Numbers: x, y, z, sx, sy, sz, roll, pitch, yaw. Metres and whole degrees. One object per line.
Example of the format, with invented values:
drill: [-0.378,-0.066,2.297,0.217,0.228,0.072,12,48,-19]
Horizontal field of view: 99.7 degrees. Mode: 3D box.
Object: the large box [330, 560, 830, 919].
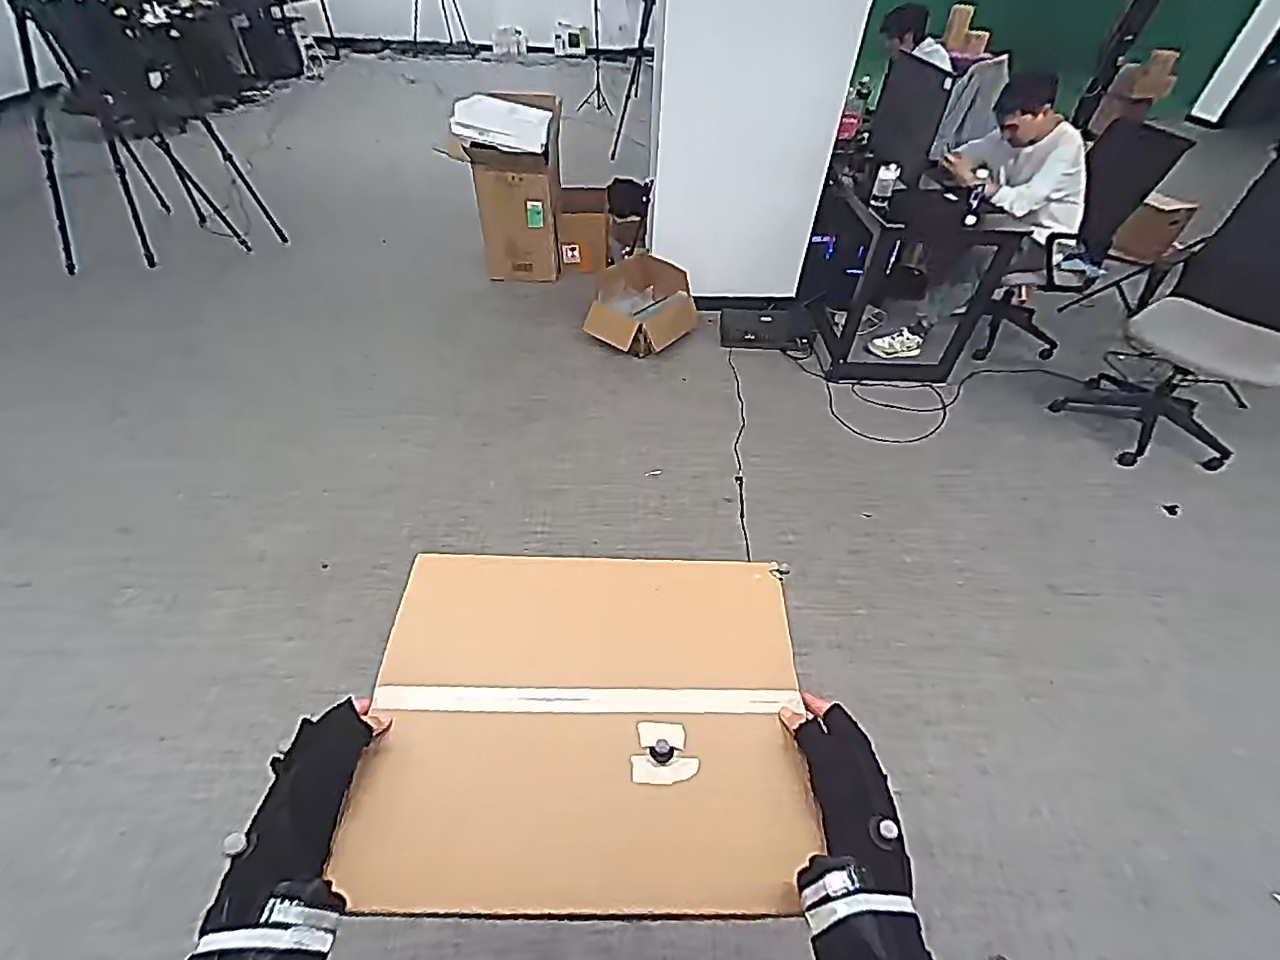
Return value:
large box: [-0.053,0.308,0.632,0.408,0.320,0.320,2,51,-2]
